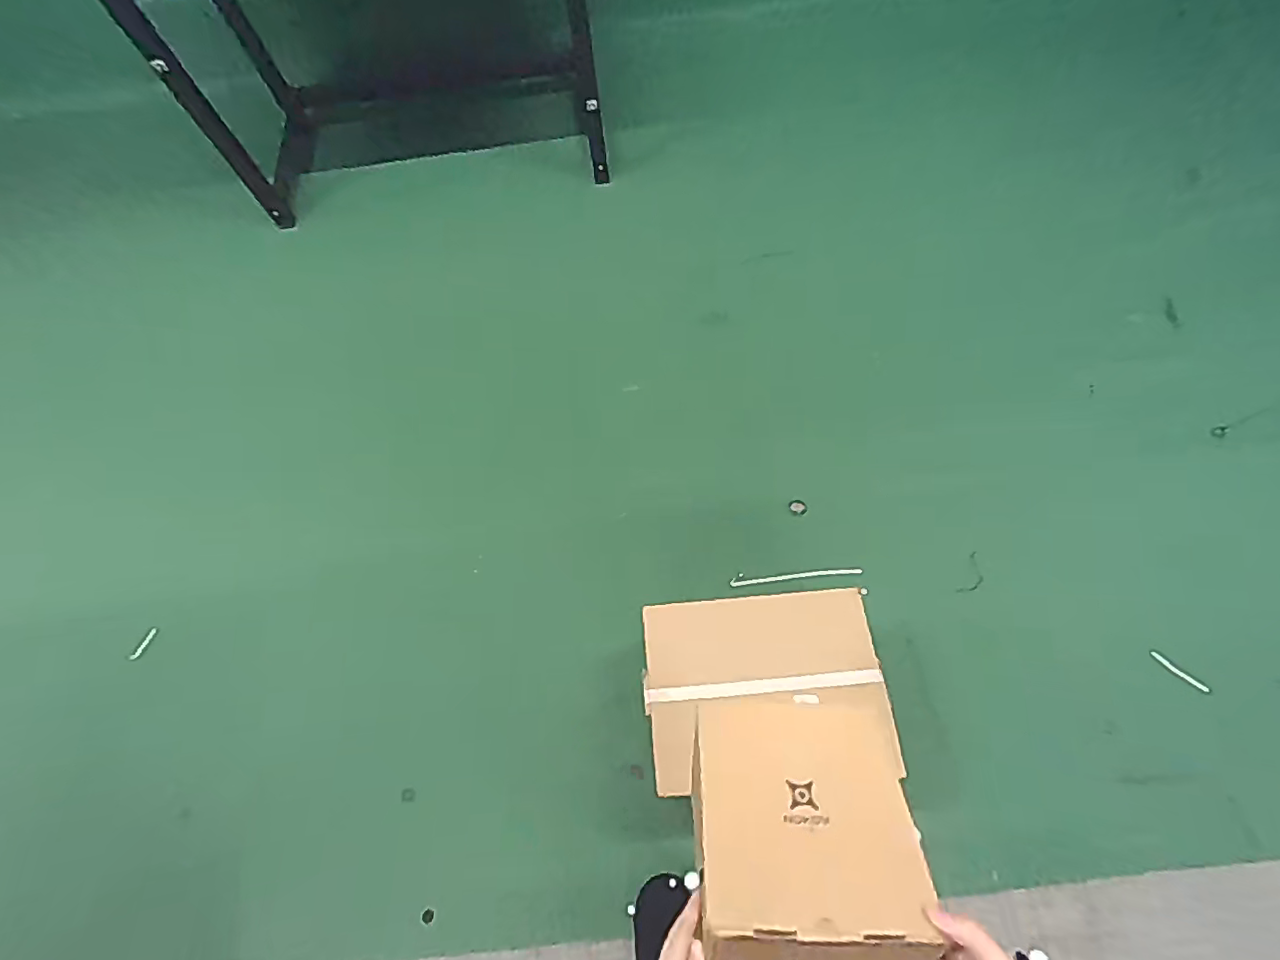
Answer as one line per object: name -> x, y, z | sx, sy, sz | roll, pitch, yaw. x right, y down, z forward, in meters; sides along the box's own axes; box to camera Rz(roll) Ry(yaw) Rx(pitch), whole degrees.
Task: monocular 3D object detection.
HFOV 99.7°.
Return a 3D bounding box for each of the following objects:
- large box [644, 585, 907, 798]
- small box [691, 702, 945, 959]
large box -> 0.225, 0.414, 1.060 | 0.408, 0.320, 0.320 | -5, 65, 1
small box -> 0.131, 0.324, 0.481 | 0.168, 0.176, 0.179 | -1, 35, 3
